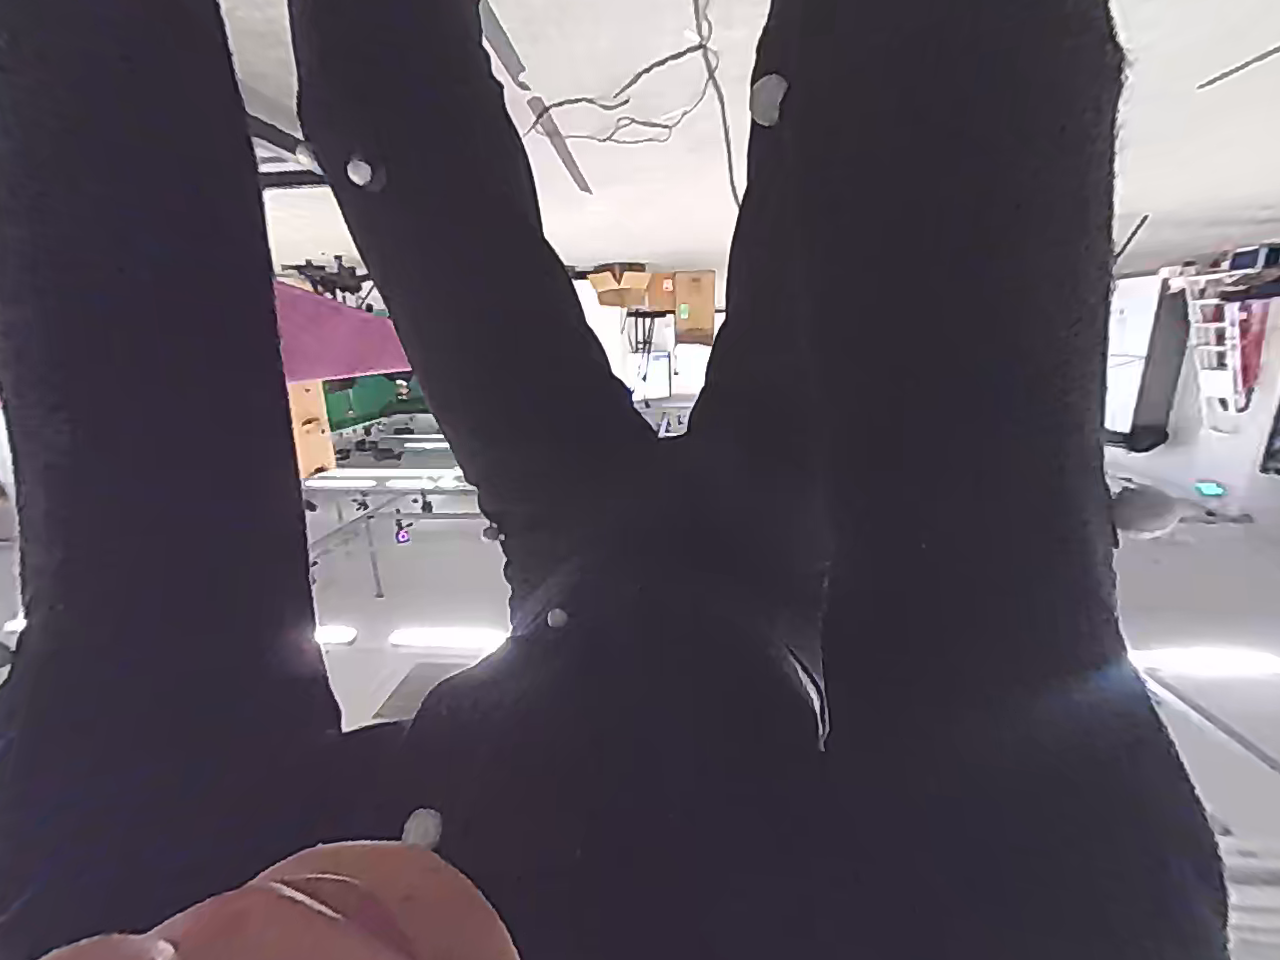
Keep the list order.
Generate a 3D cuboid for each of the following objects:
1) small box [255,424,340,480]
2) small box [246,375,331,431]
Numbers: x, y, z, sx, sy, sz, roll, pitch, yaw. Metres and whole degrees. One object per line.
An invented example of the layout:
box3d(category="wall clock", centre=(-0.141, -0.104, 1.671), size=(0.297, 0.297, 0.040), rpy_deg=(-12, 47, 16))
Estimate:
box3d(category="small box", centre=(-1.164, -0.102, 1.838), size=(0.179, 0.176, 0.168), rpy_deg=(2, -165, 9))
box3d(category="small box", centre=(-1.167, -0.261, 1.795), size=(0.179, 0.176, 0.168), rpy_deg=(0, -165, 5))
